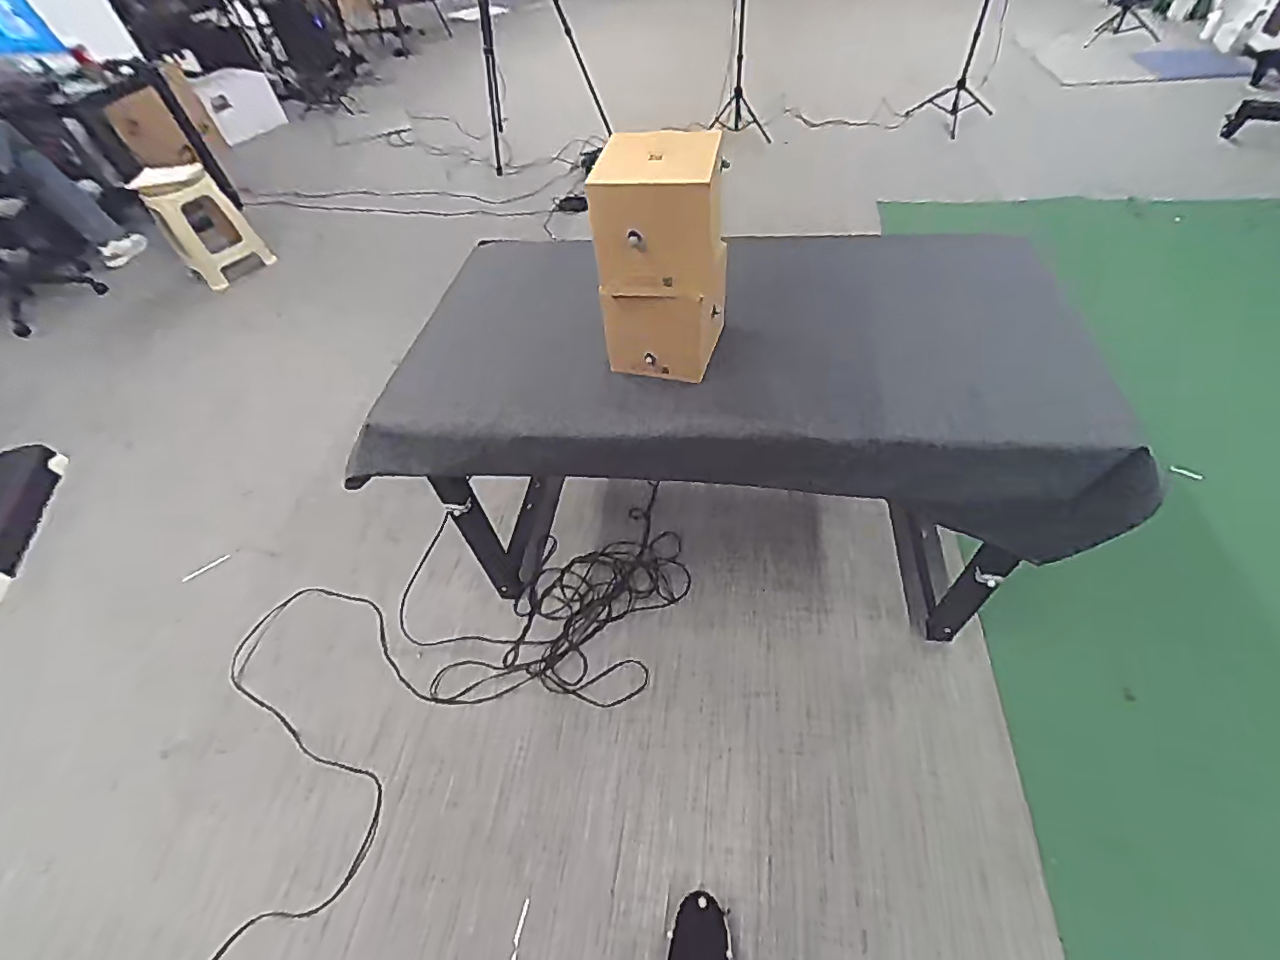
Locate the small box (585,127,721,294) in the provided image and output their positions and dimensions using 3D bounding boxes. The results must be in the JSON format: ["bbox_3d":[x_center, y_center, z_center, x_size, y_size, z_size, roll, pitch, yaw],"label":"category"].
[{"bbox_3d":[0.030,-0.392,0.798,0.168,0.176,0.179,5,52,10],"label":"small box"}]
